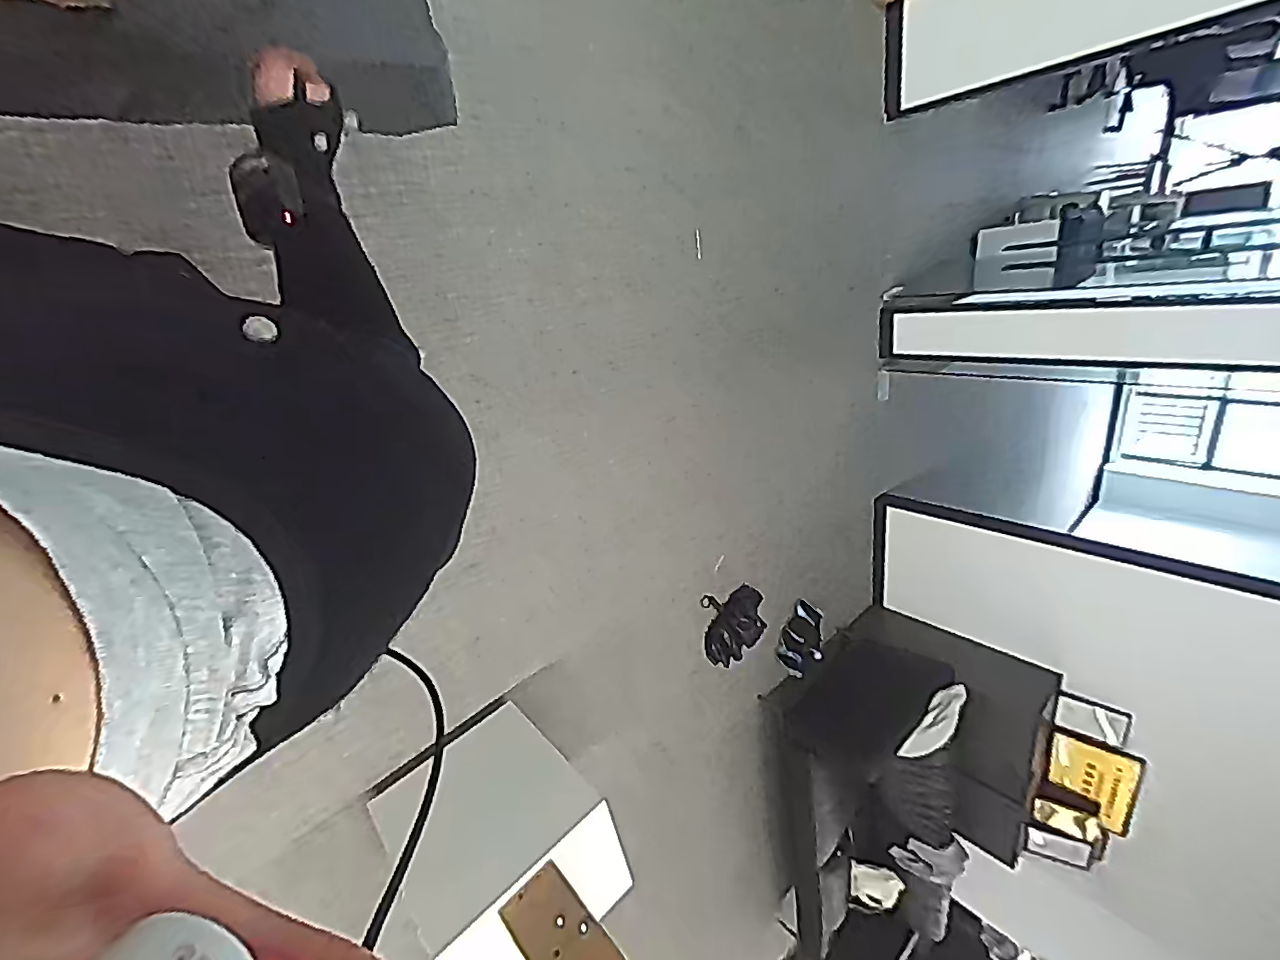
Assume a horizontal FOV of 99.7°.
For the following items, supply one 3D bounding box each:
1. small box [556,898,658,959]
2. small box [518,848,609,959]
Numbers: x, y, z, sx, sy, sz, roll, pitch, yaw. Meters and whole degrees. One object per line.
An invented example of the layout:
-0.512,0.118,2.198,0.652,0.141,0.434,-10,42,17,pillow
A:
-0.068,1.116,1.238,0.168,0.176,0.179,-33,123,-31,small box
-0.176,1.081,1.357,0.168,0.176,0.179,-34,124,-31,small box
